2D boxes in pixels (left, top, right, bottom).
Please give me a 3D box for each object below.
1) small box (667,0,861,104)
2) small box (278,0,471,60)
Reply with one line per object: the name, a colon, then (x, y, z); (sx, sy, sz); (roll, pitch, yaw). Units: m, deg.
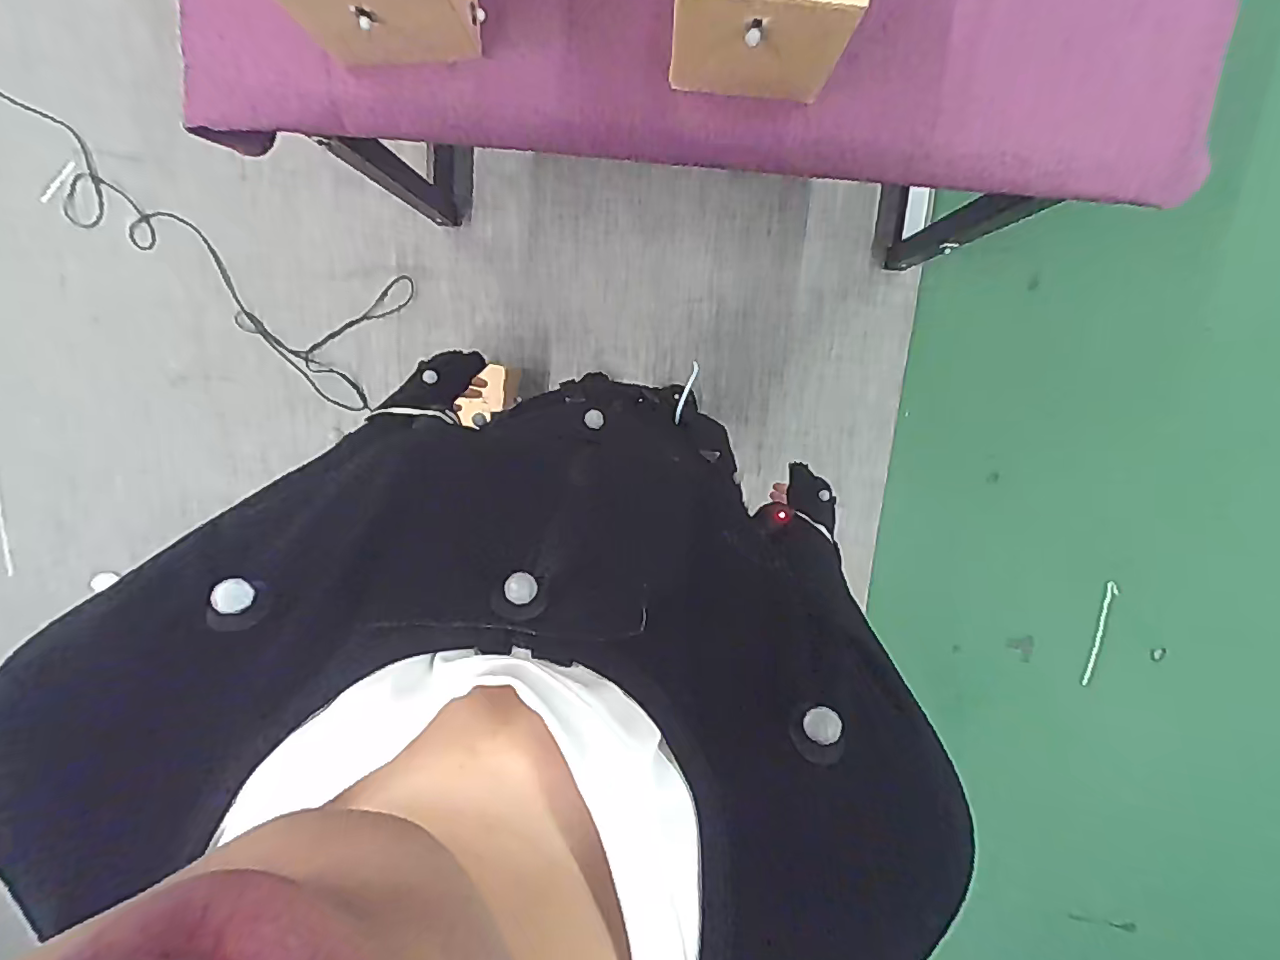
small box: (0.127, -0.526, 0.563); (0.179, 0.176, 0.168); (7, 100, 0)
small box: (-0.282, -0.570, 0.556); (0.179, 0.176, 0.168); (-1, 100, 1)
